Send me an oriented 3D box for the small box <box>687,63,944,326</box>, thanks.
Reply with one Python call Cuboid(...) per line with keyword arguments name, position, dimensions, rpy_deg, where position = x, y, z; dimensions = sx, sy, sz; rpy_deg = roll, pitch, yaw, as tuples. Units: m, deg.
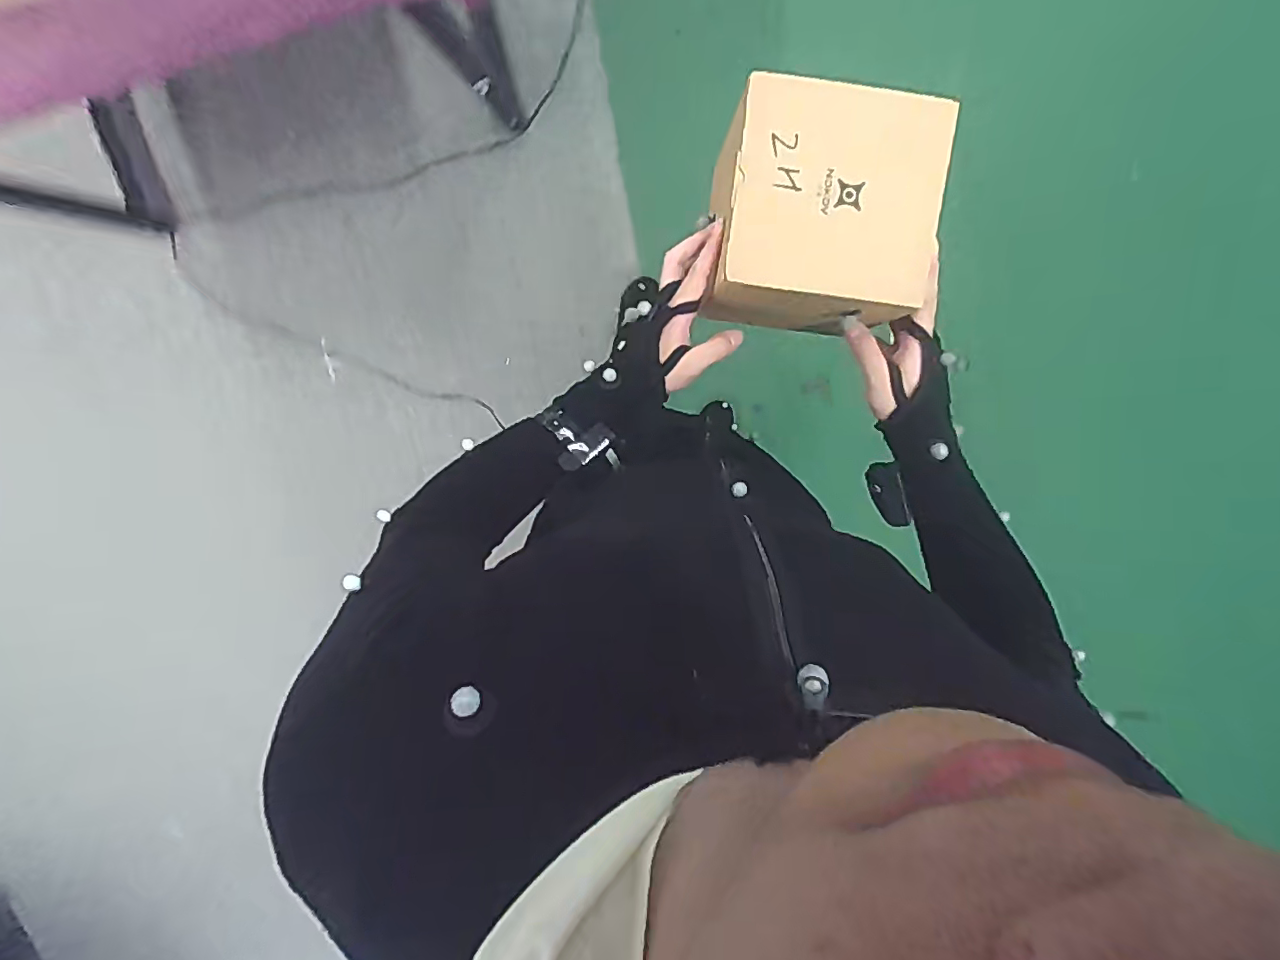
Cuboid(name="small box", position=(0.148, -0.250, 0.519), dimensions=(0.179, 0.176, 0.168), rpy_deg=(6, 96, -1))
